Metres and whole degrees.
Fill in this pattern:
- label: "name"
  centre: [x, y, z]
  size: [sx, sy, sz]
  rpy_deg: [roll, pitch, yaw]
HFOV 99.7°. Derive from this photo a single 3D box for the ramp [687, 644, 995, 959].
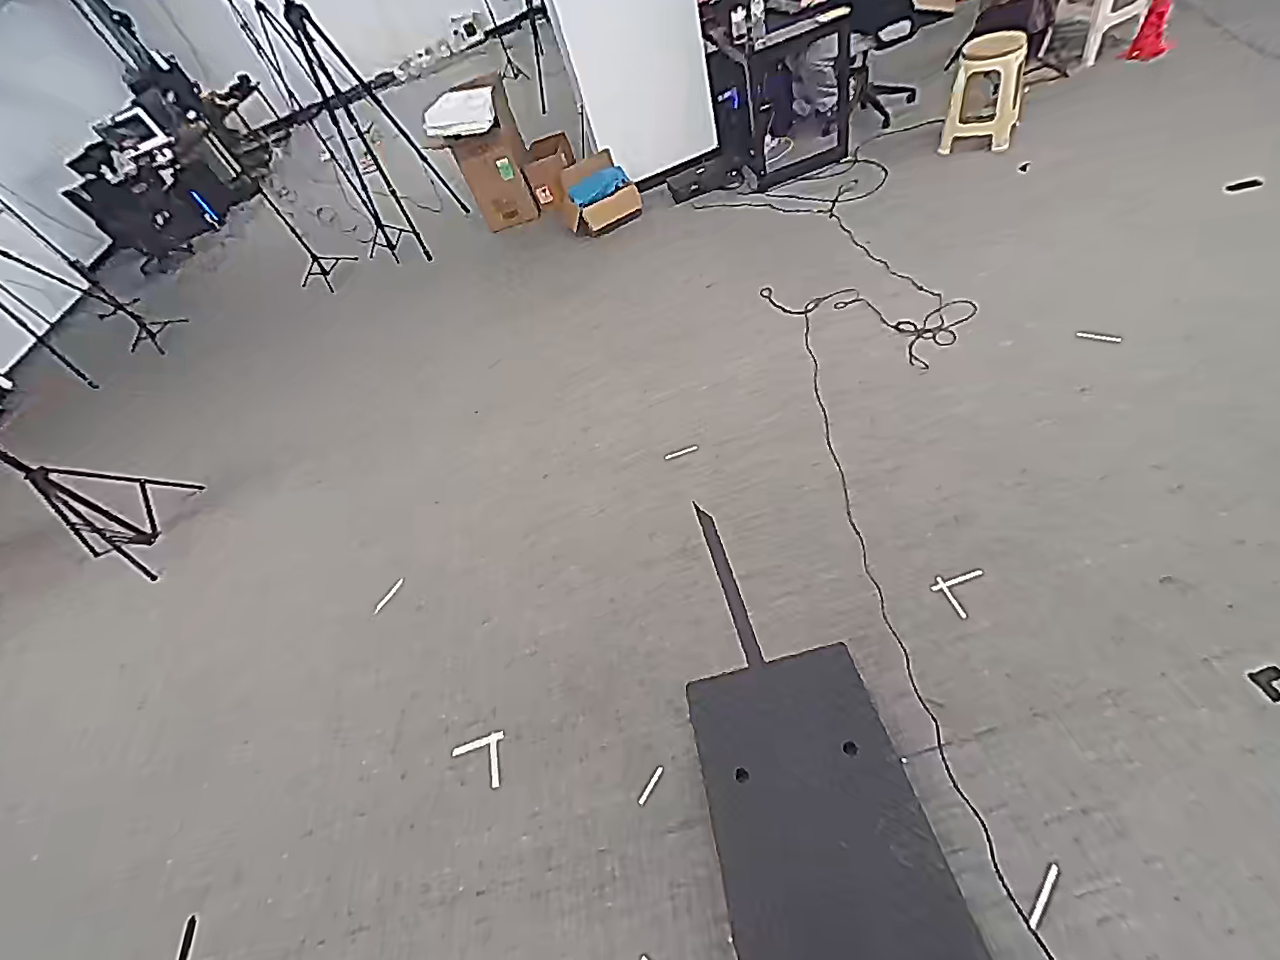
- label: "ramp"
  centre: [0.423, 0.860, 1.226]
  size: [0.509, 0.206, 0.991]
  rpy_deg: [-20, 48, 6]
